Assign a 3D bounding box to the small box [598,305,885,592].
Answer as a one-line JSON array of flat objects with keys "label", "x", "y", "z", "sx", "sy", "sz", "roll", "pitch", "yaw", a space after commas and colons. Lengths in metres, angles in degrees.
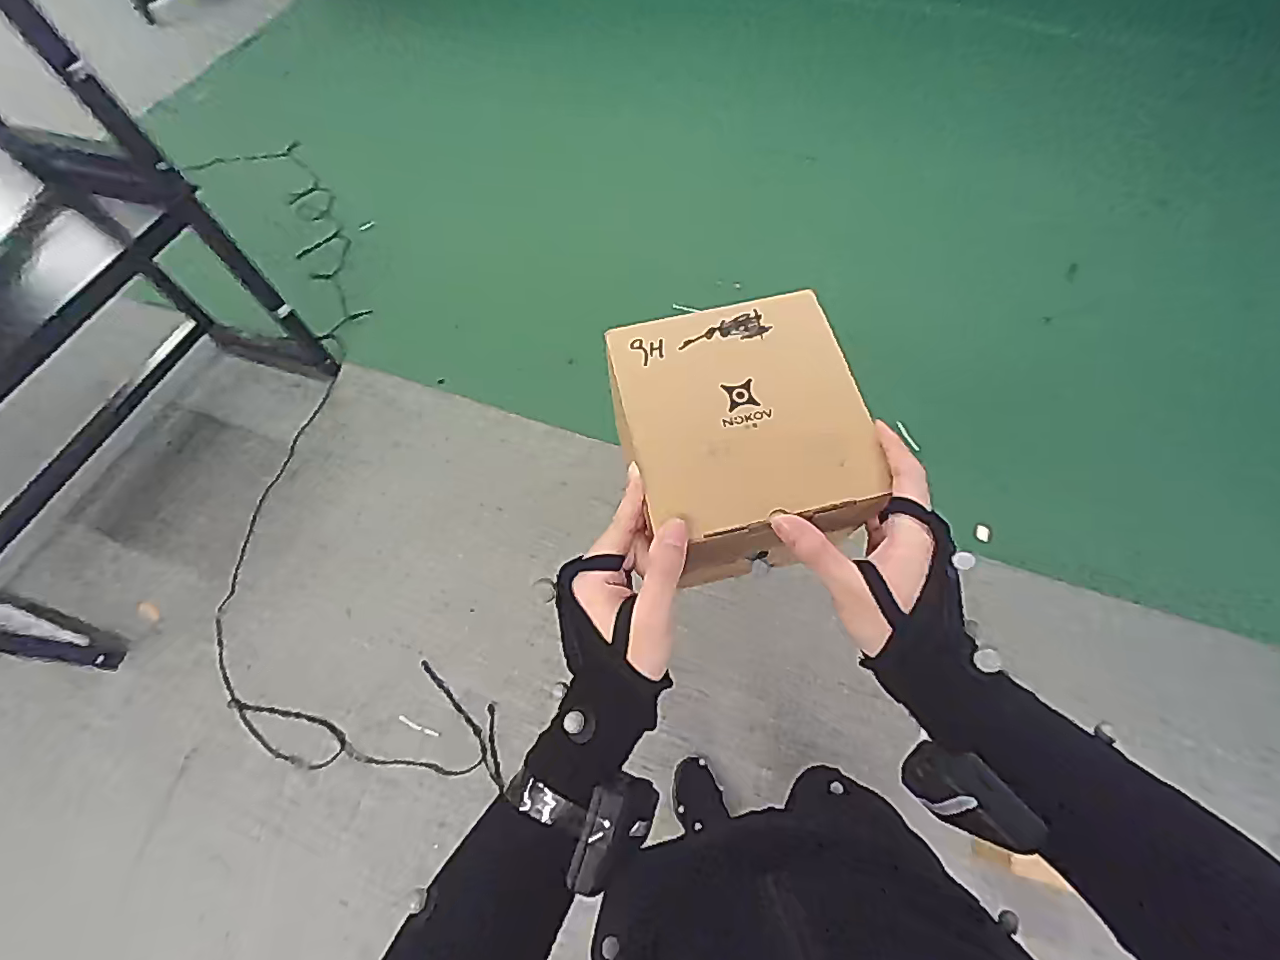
[{"label": "small box", "x": 0.069, "y": -0.011, "z": 0.457, "sx": 0.168, "sy": 0.176, "sz": 0.179, "roll": -14, "pitch": 69, "yaw": -3}]
